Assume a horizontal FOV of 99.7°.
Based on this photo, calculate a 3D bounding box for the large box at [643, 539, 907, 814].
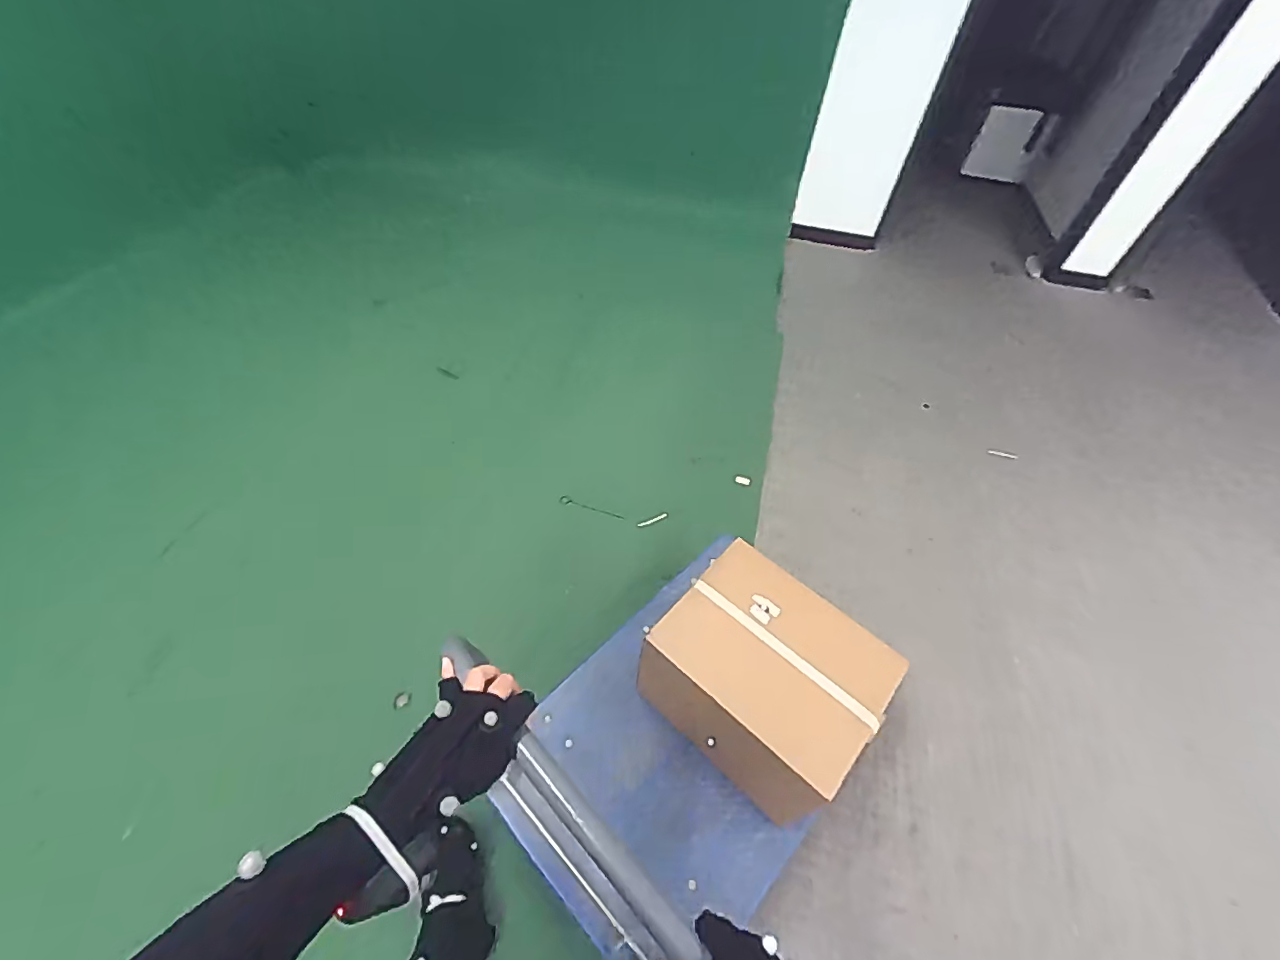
[{"bbox_3d":[0.257,0.410,1.142,0.408,0.320,0.320,36,57,23],"label":"large box"}]
